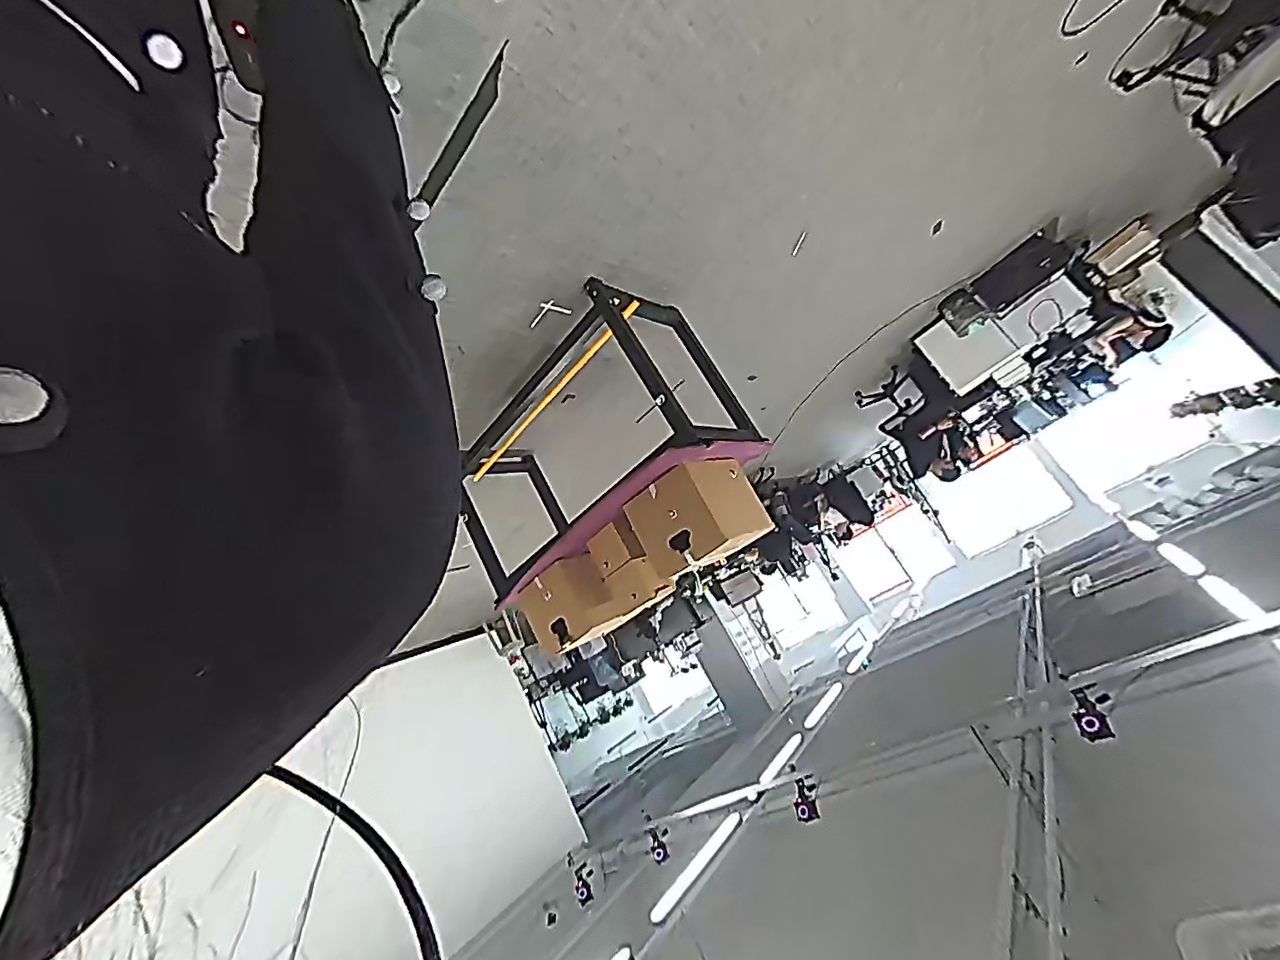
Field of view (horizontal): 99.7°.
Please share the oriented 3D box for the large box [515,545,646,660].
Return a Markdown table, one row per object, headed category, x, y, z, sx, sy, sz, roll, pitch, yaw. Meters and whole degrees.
| category | x | y | z | sx | sy | sz | roll | pitch | yaw |
| --- | --- | --- | --- | --- | --- | --- | --- | --- | --- |
| large box | -0.257 | 0.516 | 2.340 | 0.320 | 0.320 | 0.408 | -39 | 162 | 30 |
